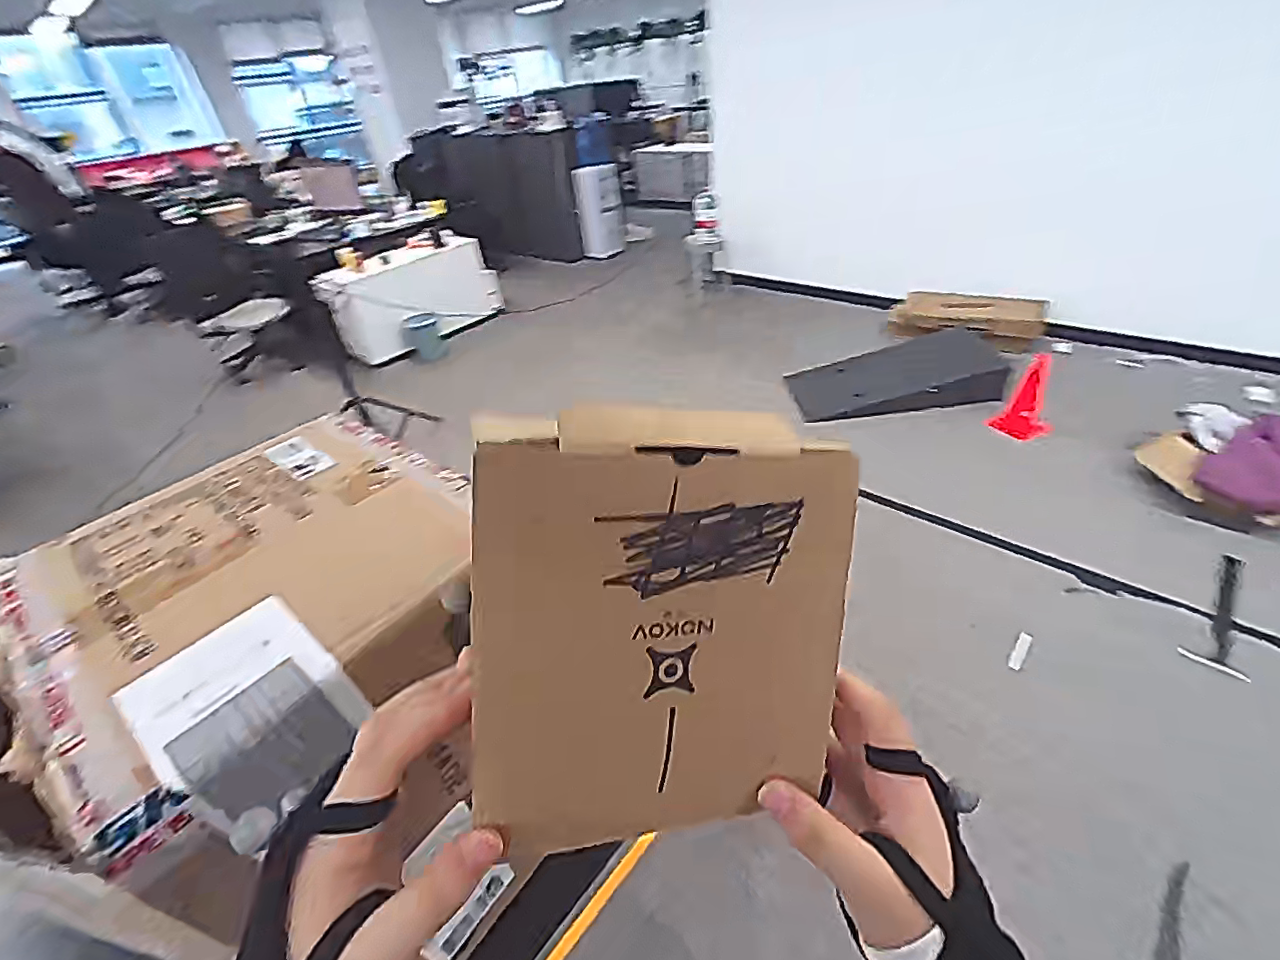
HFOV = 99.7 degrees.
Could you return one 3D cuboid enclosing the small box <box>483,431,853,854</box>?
[{"bbox_3d":[-0.004,0.064,0.317,0.168,0.179,0.176,1,8,-16],"label":"small box"}]
